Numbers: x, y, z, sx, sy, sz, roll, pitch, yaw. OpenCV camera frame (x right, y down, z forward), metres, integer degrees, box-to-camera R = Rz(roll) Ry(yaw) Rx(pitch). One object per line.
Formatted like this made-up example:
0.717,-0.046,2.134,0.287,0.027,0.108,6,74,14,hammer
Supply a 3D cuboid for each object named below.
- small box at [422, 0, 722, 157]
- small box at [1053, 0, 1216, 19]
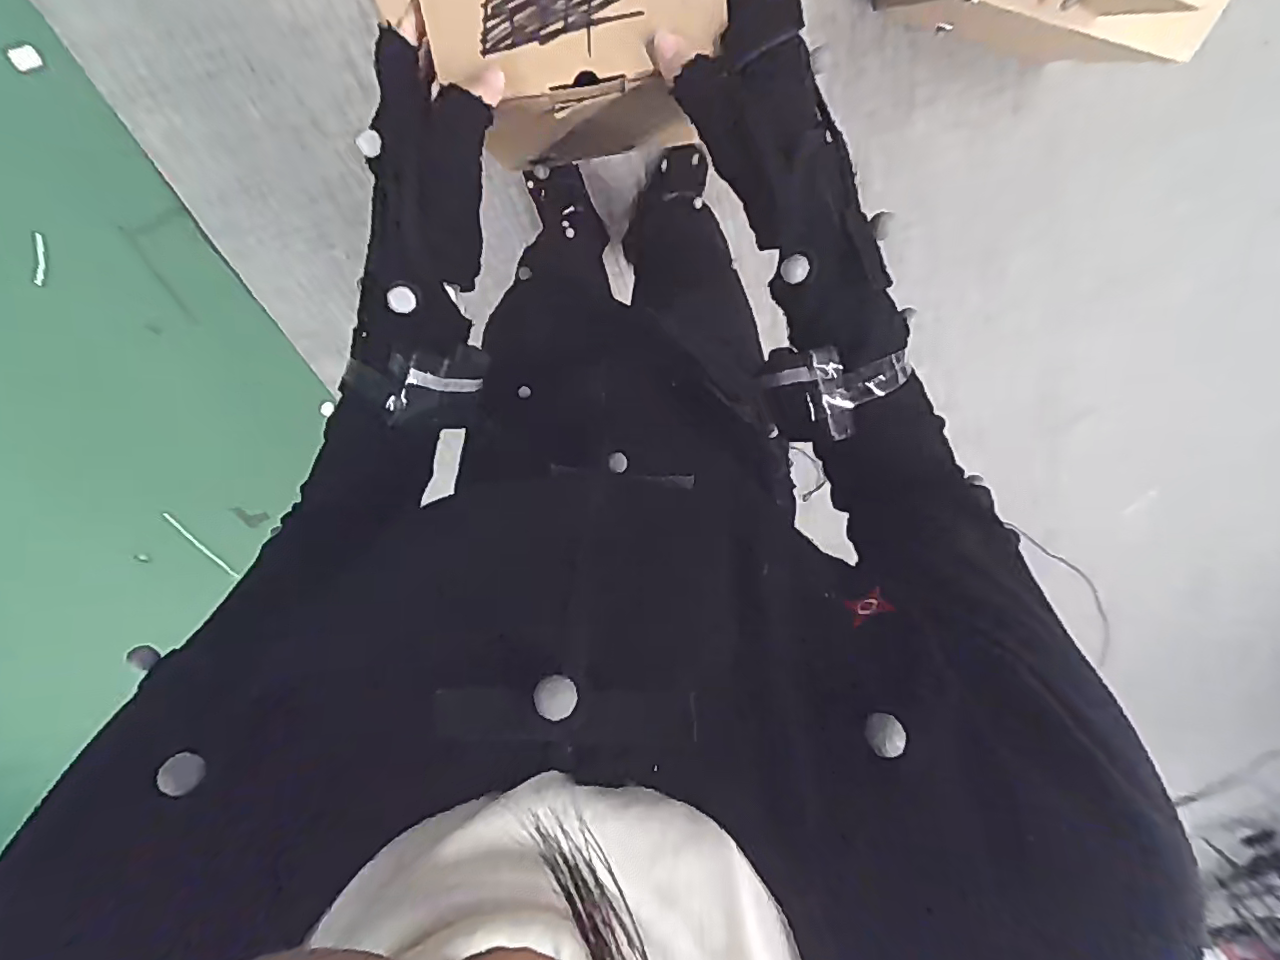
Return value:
-0.042,-0.334,0.357,0.168,0.176,0.179,-8,107,3,small box
0.635,-0.702,0.664,0.168,0.176,0.179,8,128,-11,small box
